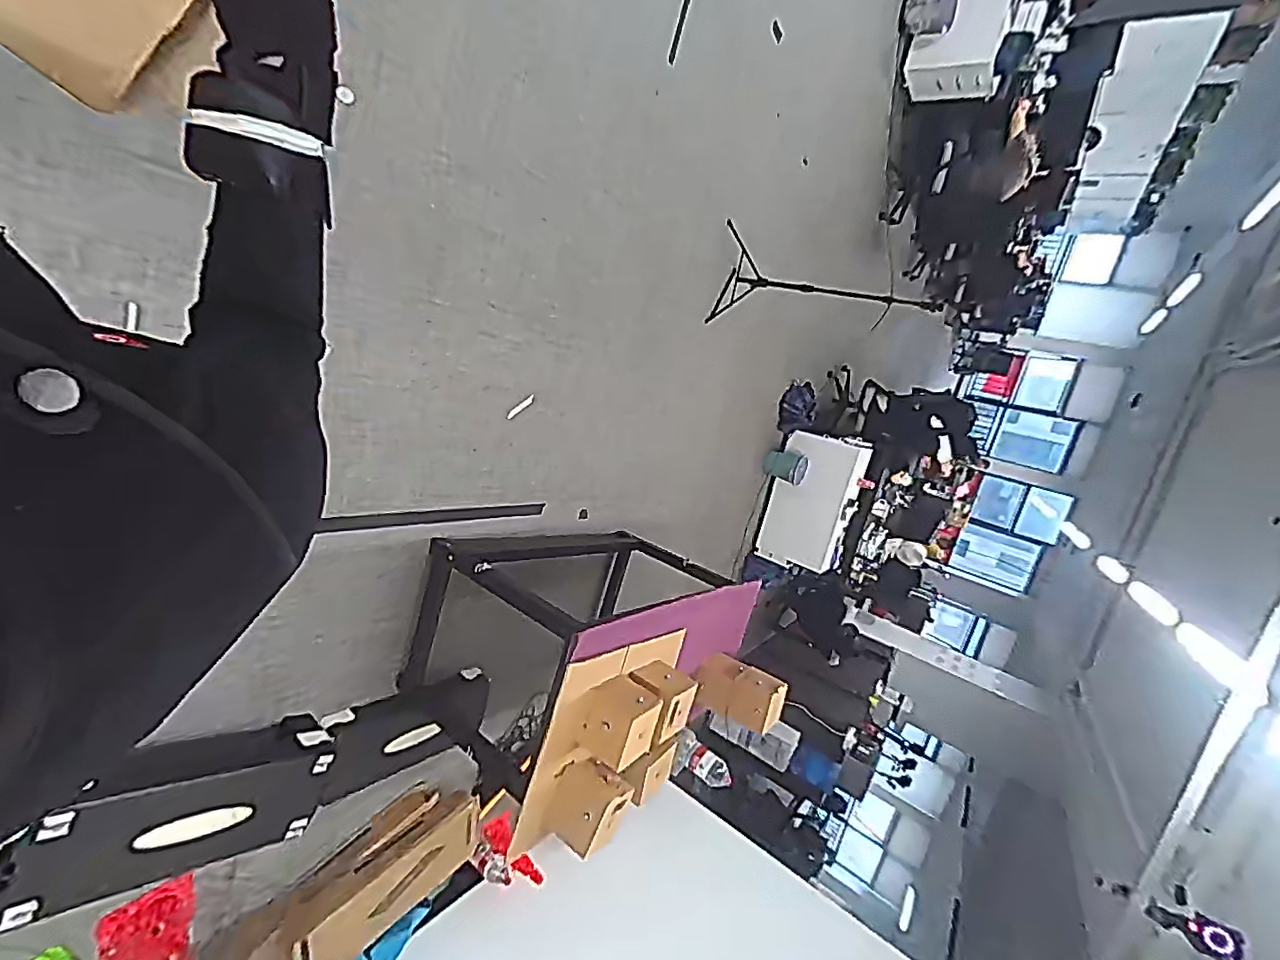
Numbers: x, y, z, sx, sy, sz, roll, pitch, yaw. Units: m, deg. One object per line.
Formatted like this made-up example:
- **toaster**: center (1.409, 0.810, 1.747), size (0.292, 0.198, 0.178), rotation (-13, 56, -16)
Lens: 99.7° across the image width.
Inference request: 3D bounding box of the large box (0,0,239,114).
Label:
- **large box**: center (-0.432, -0.516, 0.307), size (0.320, 0.320, 0.408), rotation (-46, 137, 7)
